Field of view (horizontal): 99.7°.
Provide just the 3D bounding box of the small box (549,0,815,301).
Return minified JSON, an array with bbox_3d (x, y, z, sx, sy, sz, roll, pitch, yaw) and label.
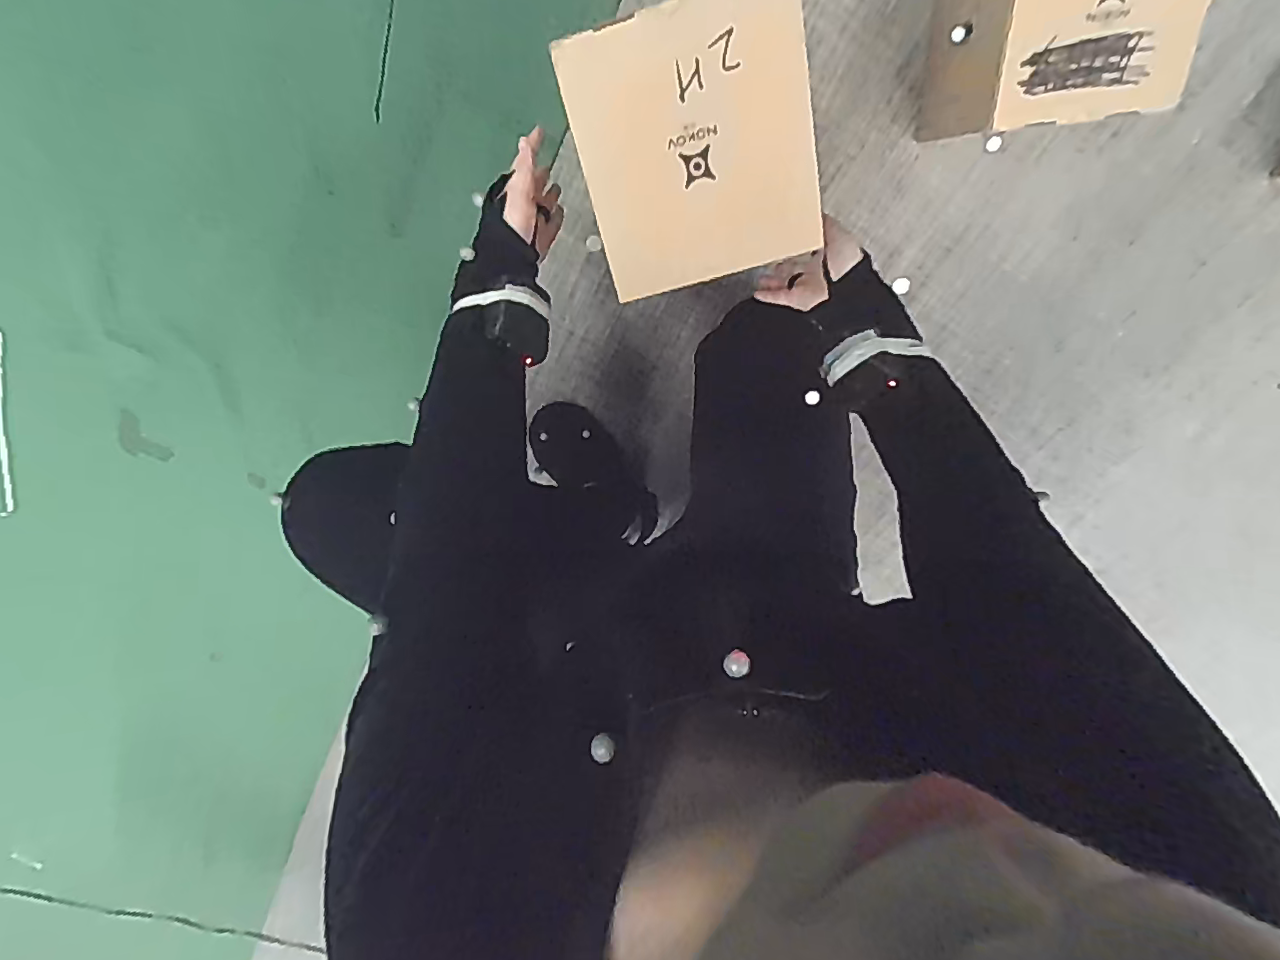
[{"bbox_3d":[0.040,-0.274,0.461,0.168,0.176,0.179,-13,117,8],"label":"small box"}]
